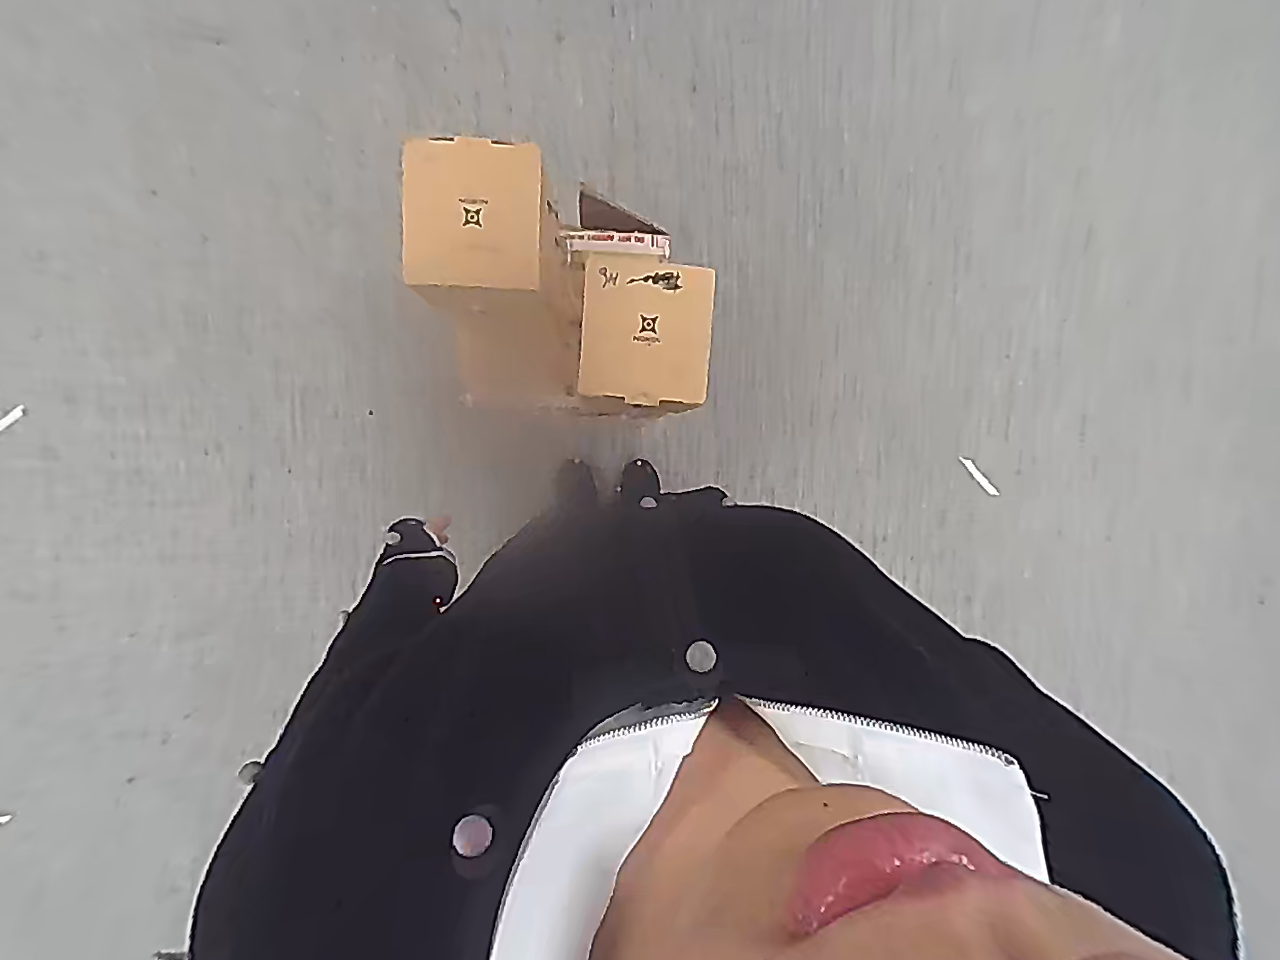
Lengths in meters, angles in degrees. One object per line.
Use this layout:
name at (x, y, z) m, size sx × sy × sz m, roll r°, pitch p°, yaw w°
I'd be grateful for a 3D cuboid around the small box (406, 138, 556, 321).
small box at (-0.206, -0.328, 0.738) m, size 0.168 × 0.176 × 0.179 m, roll 1°, pitch 94°, yaw -3°

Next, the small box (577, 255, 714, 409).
small box at (-0.001, -0.195, 0.764) m, size 0.168 × 0.176 × 0.179 m, roll 4°, pitch 94°, yaw -7°

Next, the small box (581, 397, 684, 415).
small box at (-0.018, -0.206, 0.927) m, size 0.168 × 0.176 × 0.179 m, roll 0°, pitch 94°, yaw -6°
